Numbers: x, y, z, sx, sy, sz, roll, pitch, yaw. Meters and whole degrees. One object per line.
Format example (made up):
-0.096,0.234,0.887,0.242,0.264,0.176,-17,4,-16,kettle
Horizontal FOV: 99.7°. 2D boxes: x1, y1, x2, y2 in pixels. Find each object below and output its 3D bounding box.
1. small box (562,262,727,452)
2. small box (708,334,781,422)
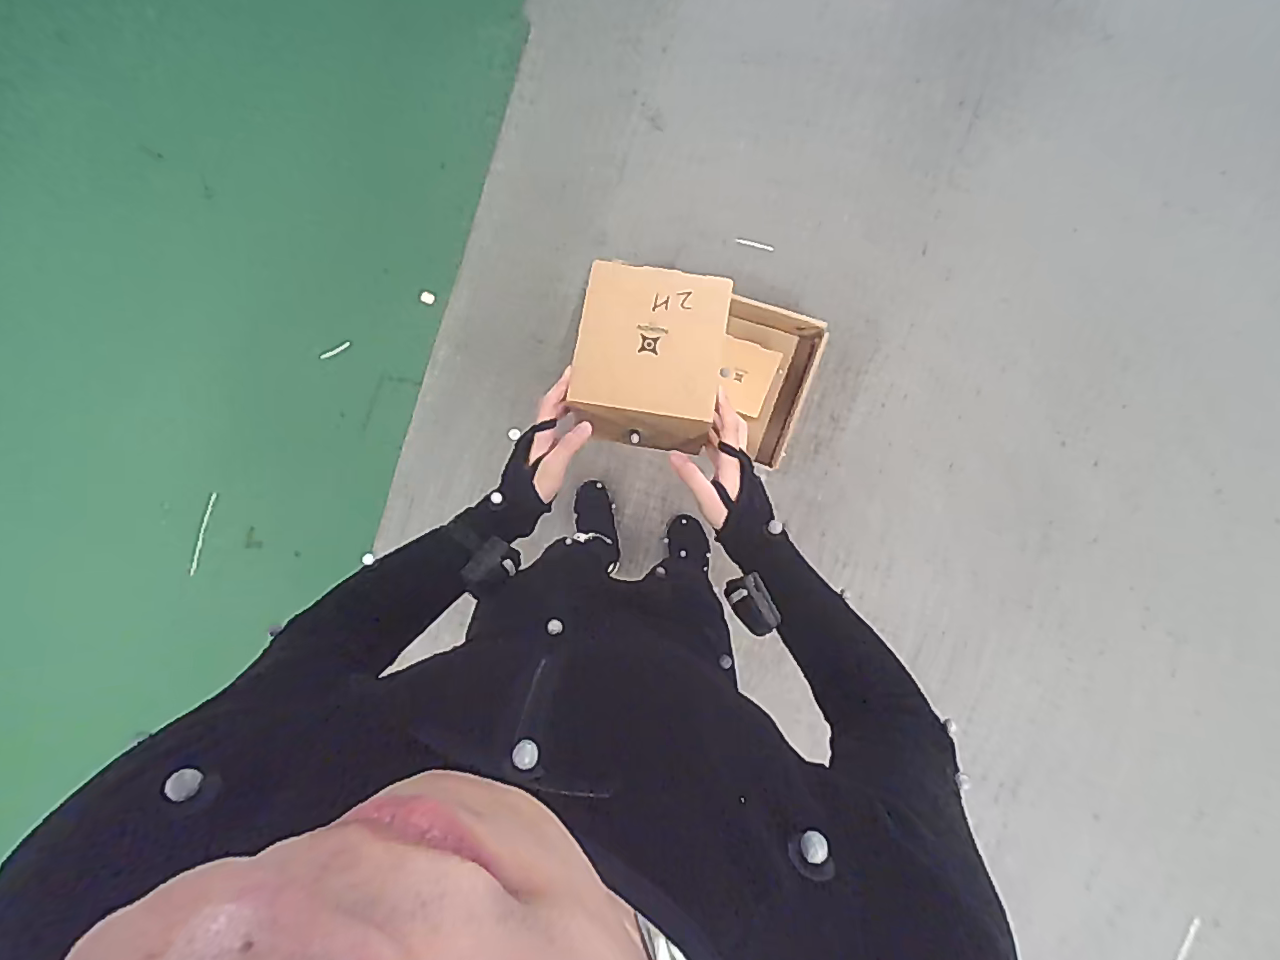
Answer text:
0.008,-0.143,0.687,0.168,0.176,0.179,9,80,2,small box
0.267,-0.265,1.450,0.168,0.176,0.179,22,94,10,small box
